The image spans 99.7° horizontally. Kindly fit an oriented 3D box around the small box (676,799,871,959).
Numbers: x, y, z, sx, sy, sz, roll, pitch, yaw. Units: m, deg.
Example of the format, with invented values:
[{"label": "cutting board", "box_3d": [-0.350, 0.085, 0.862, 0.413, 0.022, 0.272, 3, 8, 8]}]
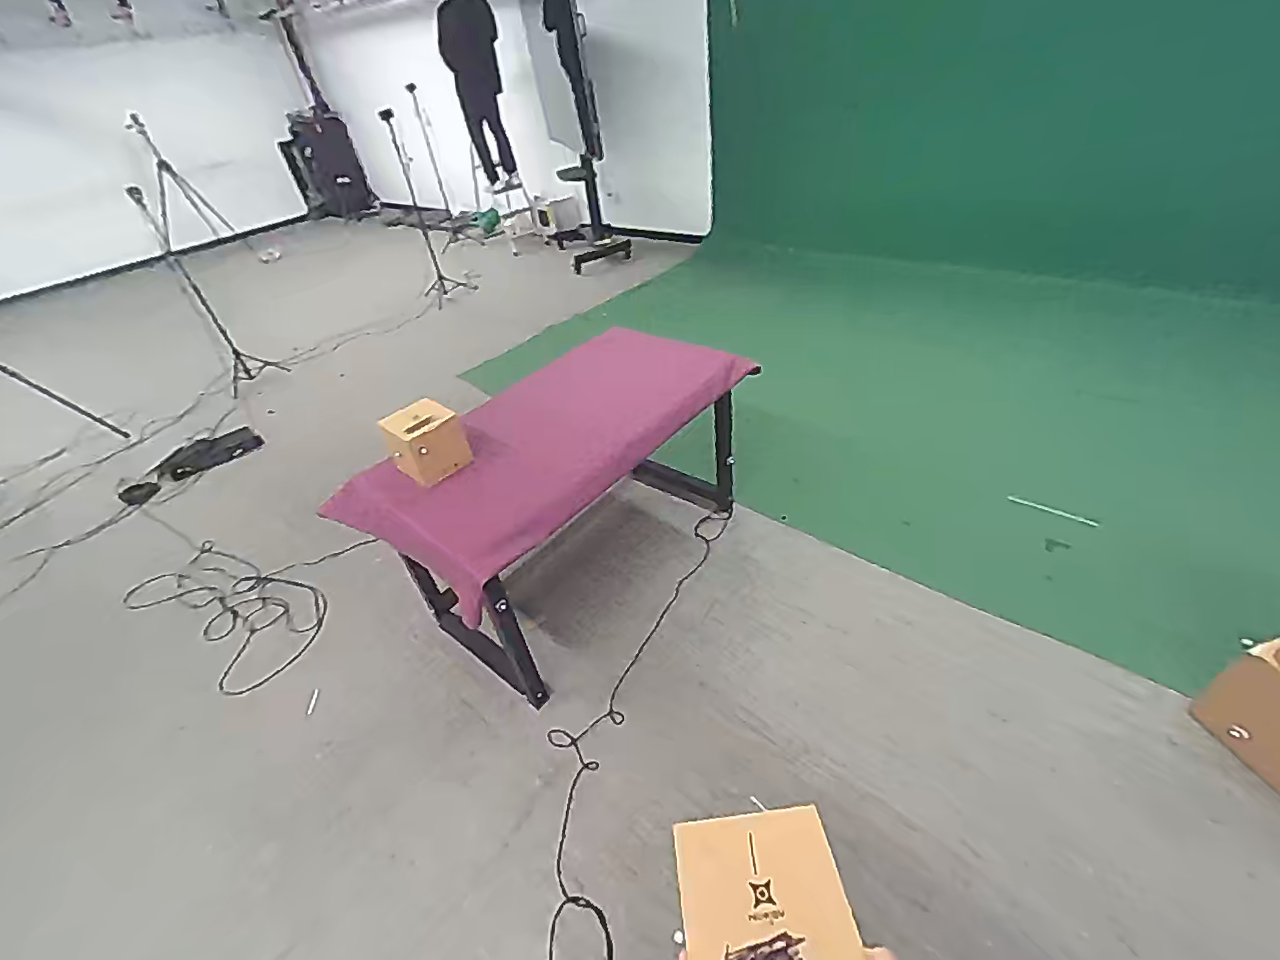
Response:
[{"label": "small box", "box_3d": [0.137, 0.484, 0.577, 0.168, 0.176, 0.179, -9, 30, 0]}]
